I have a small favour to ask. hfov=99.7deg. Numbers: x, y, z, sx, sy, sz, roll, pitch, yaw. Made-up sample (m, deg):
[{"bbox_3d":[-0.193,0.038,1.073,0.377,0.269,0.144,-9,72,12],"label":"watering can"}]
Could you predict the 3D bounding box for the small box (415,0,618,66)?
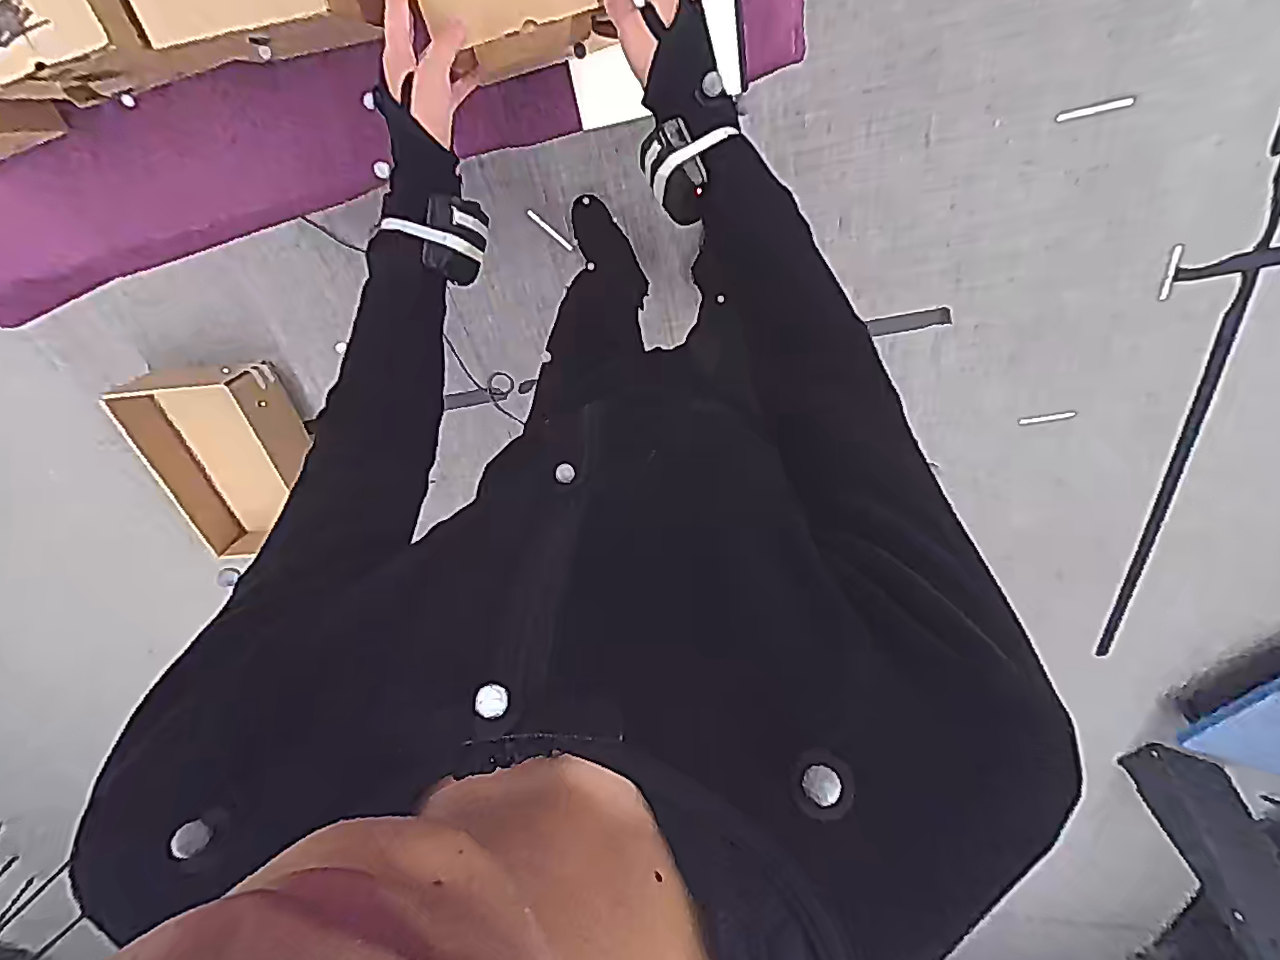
[{"bbox_3d":[-0.116,-0.489,0.470,0.168,0.176,0.179,-12,120,5],"label":"small box"}]
